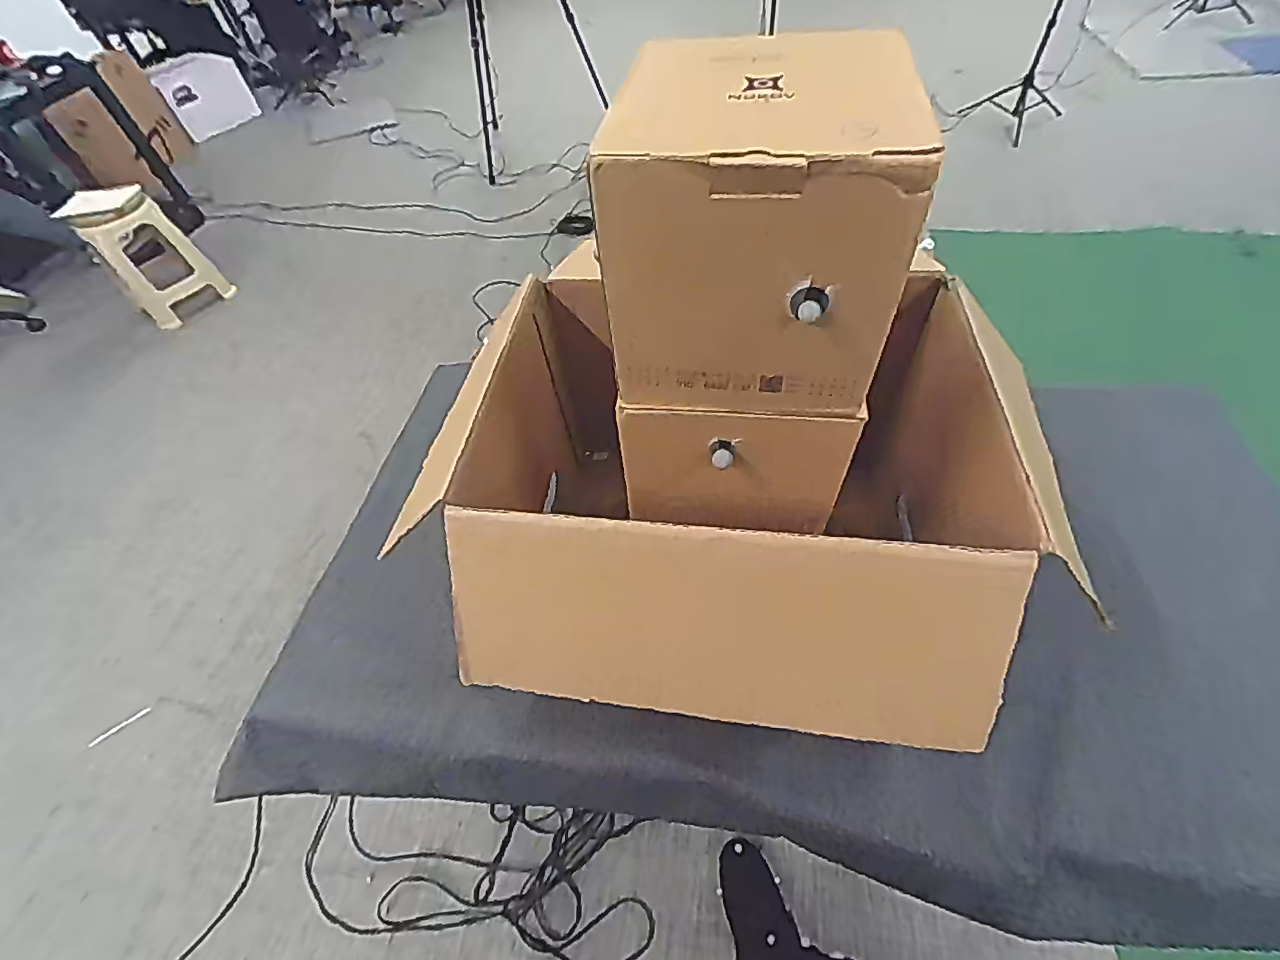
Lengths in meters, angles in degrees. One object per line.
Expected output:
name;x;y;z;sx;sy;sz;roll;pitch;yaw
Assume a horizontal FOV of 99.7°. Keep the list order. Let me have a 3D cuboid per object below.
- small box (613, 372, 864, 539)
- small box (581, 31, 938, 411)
small box;0.082;-0.060;0.483;0.179;0.176;0.168;4;53;8
small box;0.071;-0.164;0.359;0.168;0.176;0.179;5;53;9
